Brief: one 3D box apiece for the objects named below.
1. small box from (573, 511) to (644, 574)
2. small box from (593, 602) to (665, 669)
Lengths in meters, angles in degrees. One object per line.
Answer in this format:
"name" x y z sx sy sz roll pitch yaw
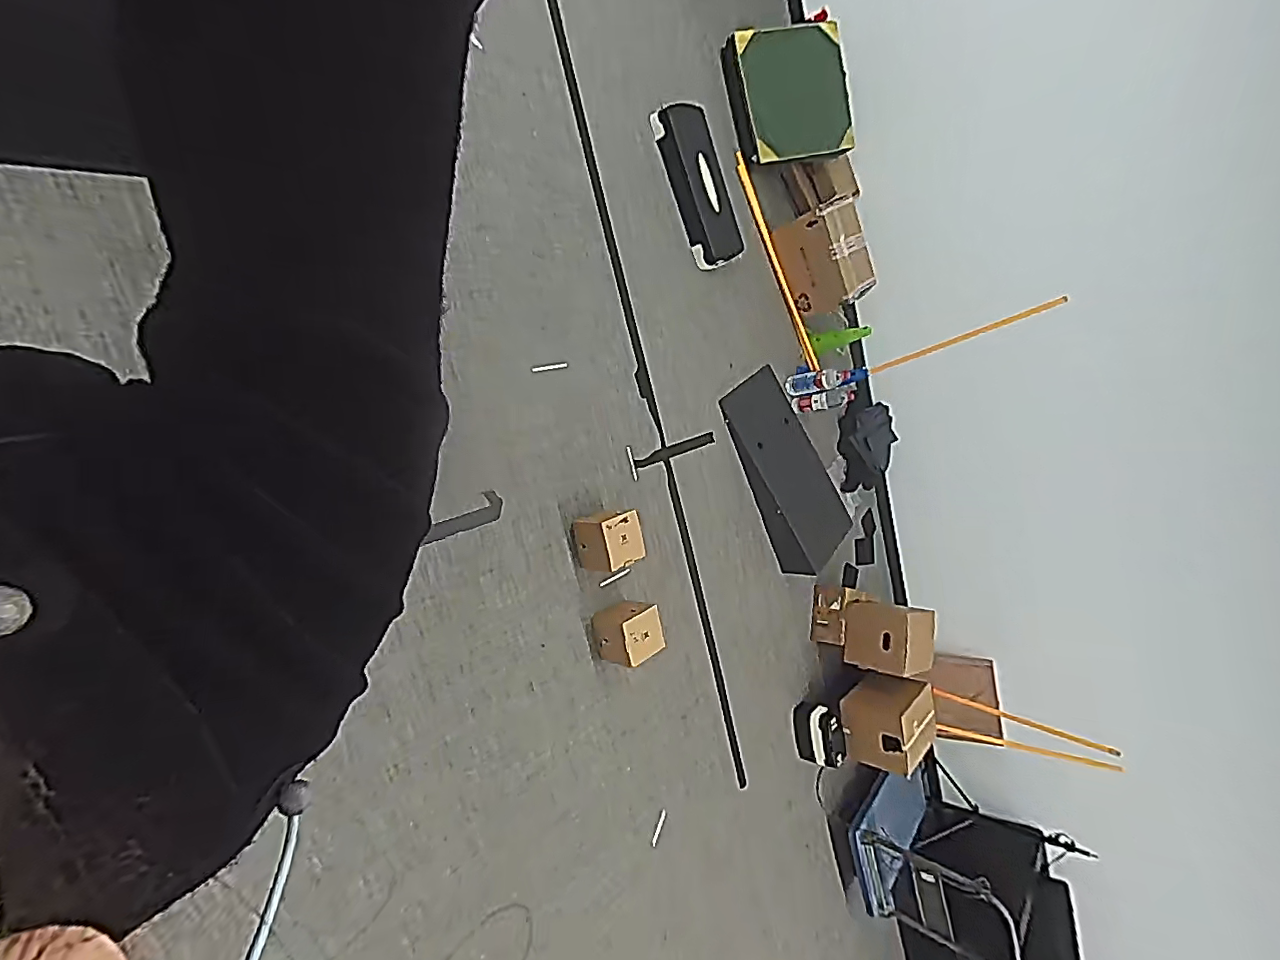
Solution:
"small box" -0.113 0.213 1.898 0.168 0.176 0.179 -19 101 -43
"small box" -0.040 0.551 1.943 0.179 0.176 0.168 -19 100 -43
